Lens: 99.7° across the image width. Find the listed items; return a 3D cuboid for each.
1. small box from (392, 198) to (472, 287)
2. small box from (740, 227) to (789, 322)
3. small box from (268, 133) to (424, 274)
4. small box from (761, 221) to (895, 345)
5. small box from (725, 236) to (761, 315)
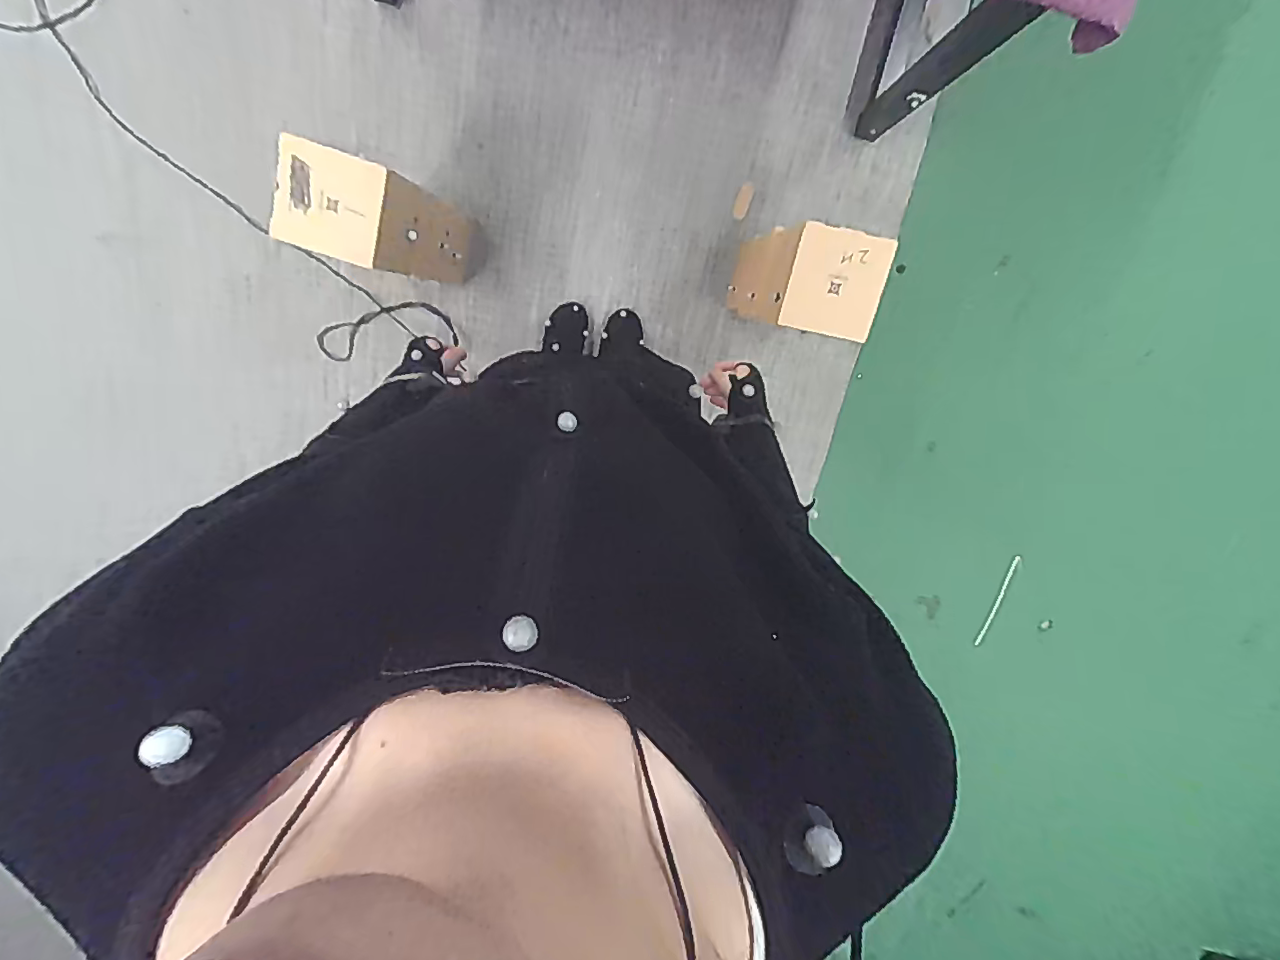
[{"bbox_3d":[-0.514,-0.568,1.280,0.168,0.176,0.179,16,107,-5],"label":"small box"},{"bbox_3d":[0.323,-0.424,1.160,0.168,0.176,0.179,11,108,-4],"label":"small box"},{"bbox_3d":[-0.514,-0.477,0.964,0.179,0.176,0.168,17,106,-6],"label":"small box"},{"bbox_3d":[0.335,-0.362,1.008,0.168,0.176,0.179,11,108,-4],"label":"small box"},{"bbox_3d":[0.317,-0.476,1.313,0.179,0.176,0.168,13,107,-5],"label":"small box"}]
